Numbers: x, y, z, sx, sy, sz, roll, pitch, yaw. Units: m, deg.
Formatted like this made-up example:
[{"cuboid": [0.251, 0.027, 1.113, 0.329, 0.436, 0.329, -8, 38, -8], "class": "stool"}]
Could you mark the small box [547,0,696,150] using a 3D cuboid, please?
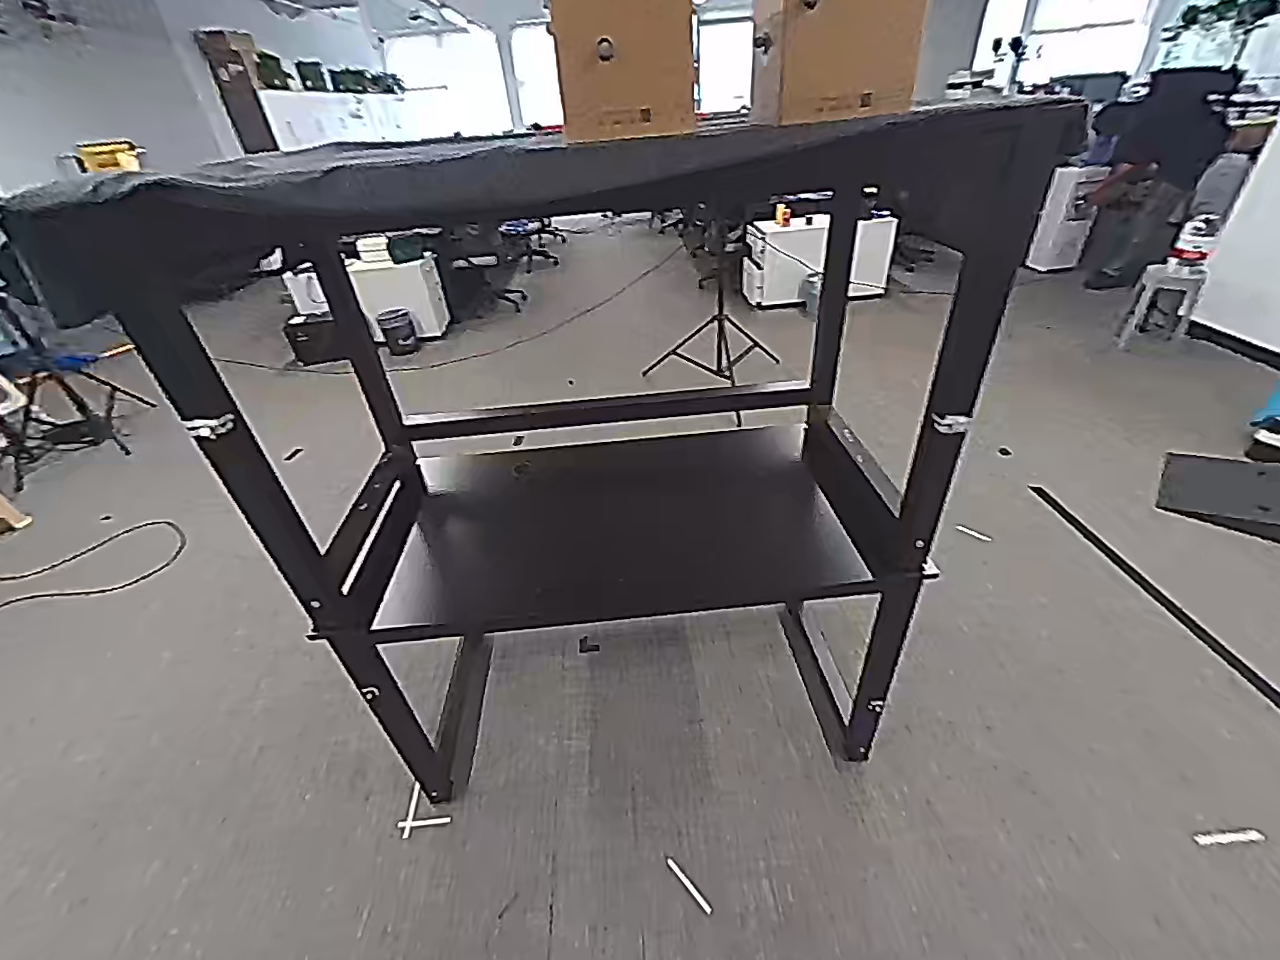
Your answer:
[{"cuboid": [-0.017, -0.536, 0.704, 0.168, 0.176, 0.179, -4, 33, 2], "class": "small box"}]
